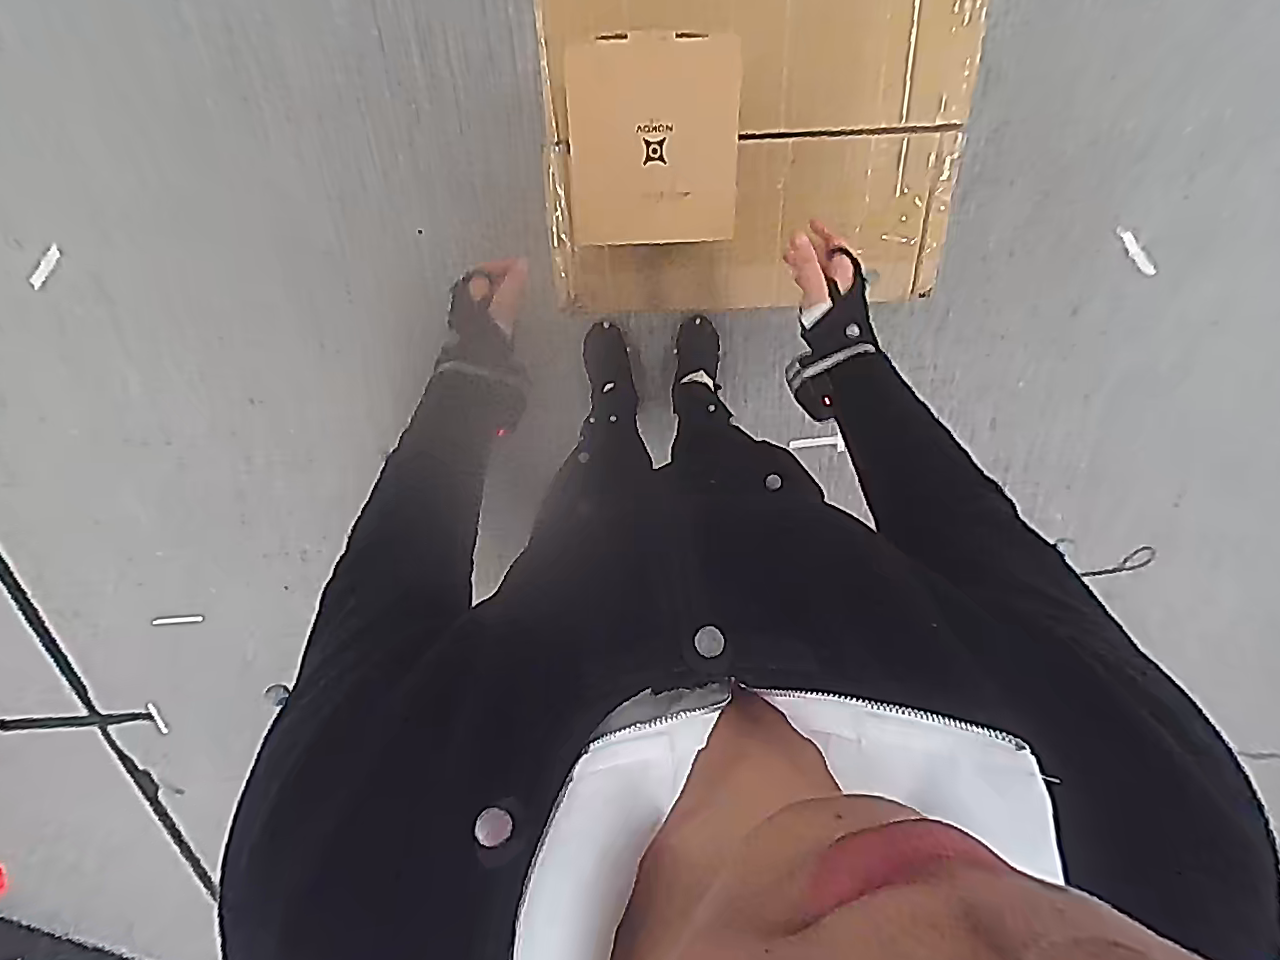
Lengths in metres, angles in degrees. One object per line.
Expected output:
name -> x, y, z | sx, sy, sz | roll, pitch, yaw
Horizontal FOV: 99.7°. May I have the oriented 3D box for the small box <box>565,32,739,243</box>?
small box -> 0.010, -0.364, 0.603 | 0.168, 0.176, 0.179 | -3, 116, 0
